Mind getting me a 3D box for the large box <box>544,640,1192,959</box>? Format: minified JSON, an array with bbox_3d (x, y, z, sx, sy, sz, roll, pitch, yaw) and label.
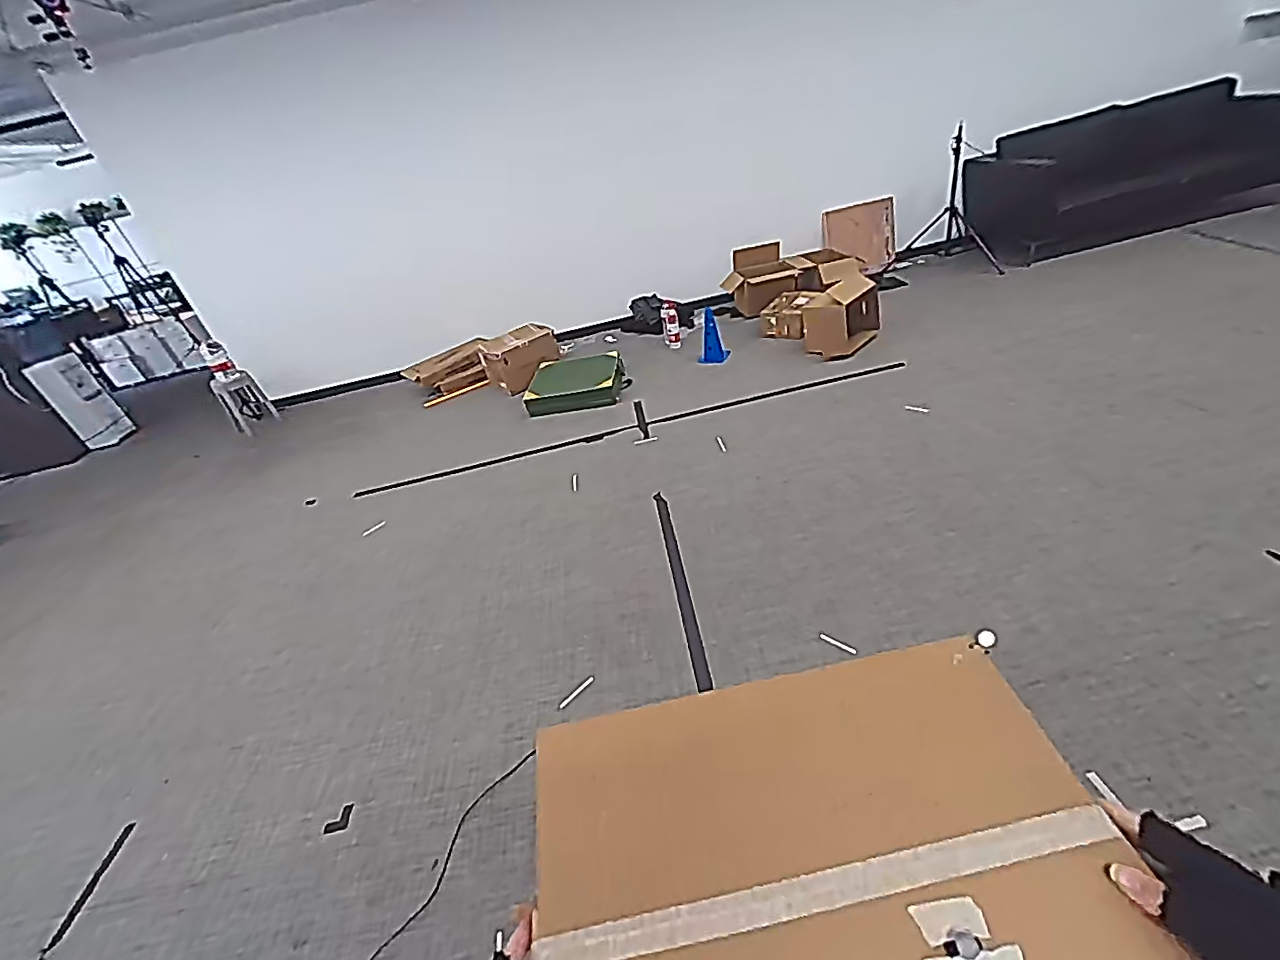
[{"bbox_3d":[0.150,0.399,0.479,0.408,0.320,0.320,-12,41,-3],"label":"large box"}]
